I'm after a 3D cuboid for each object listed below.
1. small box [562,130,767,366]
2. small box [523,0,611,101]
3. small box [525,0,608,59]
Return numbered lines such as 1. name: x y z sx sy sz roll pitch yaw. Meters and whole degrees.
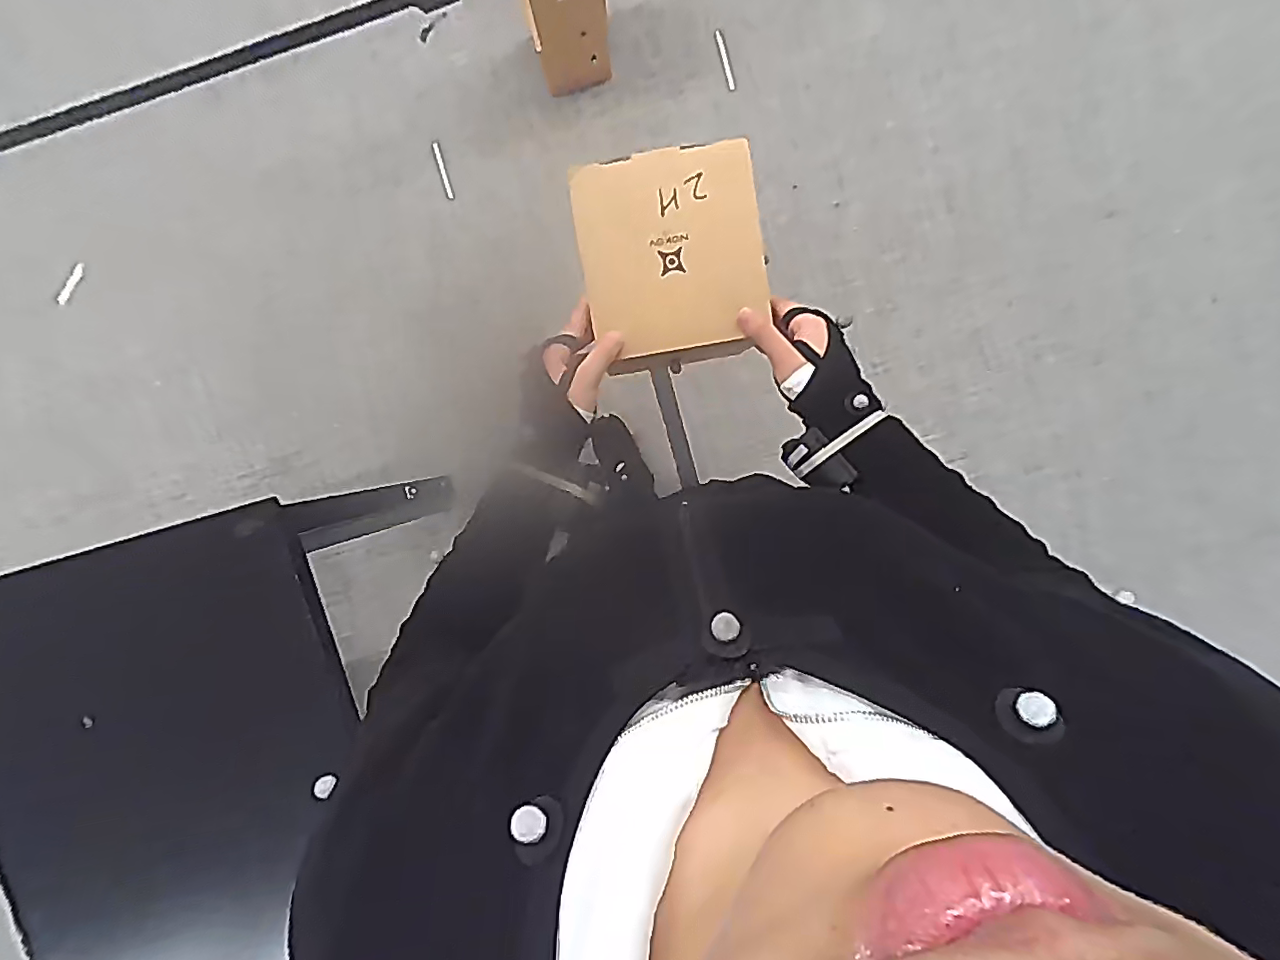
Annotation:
1. small box: 0.025 -0.219 0.565 0.168 0.176 0.179 -10 96 1
2. small box: -0.175 -1.104 1.355 0.179 0.176 0.168 -17 92 3
3. small box: -0.176 -1.093 1.191 0.168 0.176 0.179 -18 92 2
